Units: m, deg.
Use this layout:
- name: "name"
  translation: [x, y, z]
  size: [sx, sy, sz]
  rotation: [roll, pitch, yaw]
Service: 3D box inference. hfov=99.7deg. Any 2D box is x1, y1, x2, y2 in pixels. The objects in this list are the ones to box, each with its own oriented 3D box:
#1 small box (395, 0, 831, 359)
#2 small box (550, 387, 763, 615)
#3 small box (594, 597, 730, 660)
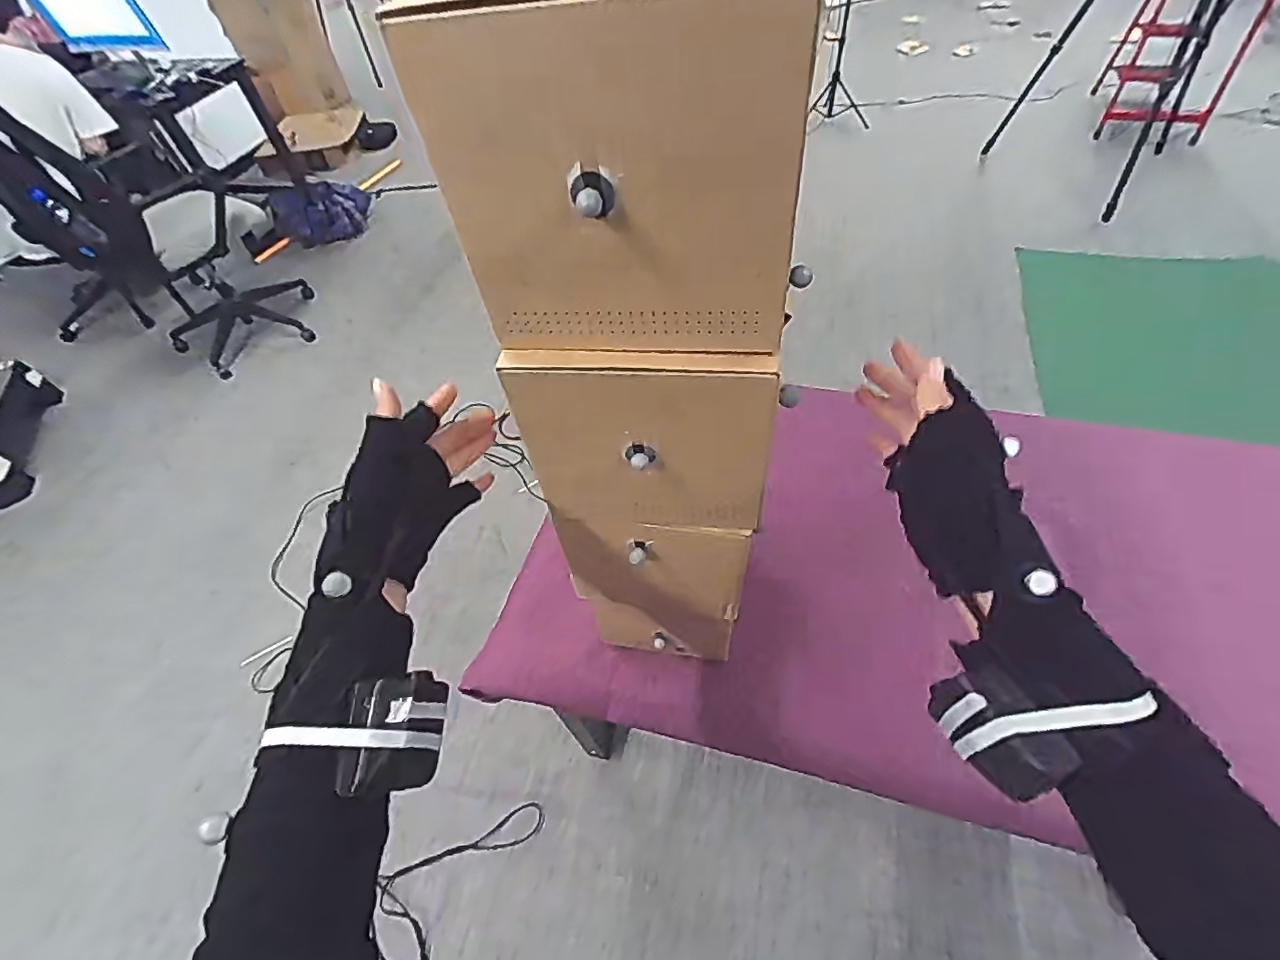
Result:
- name: "small box"
  translation: [0.004, -0.187, 0.317]
  size: [0.179, 0.176, 0.168]
  rotation: [4, 53, 10]
- name: "small box"
  translation: [0.026, 0.027, 0.567]
  size: [0.179, 0.176, 0.168]
  rotation: [6, 53, 10]
- name: "small box"
  translation: [0.036, 0.112, 0.707]
  size: [0.168, 0.176, 0.179]
  rotation: [6, 53, 9]
